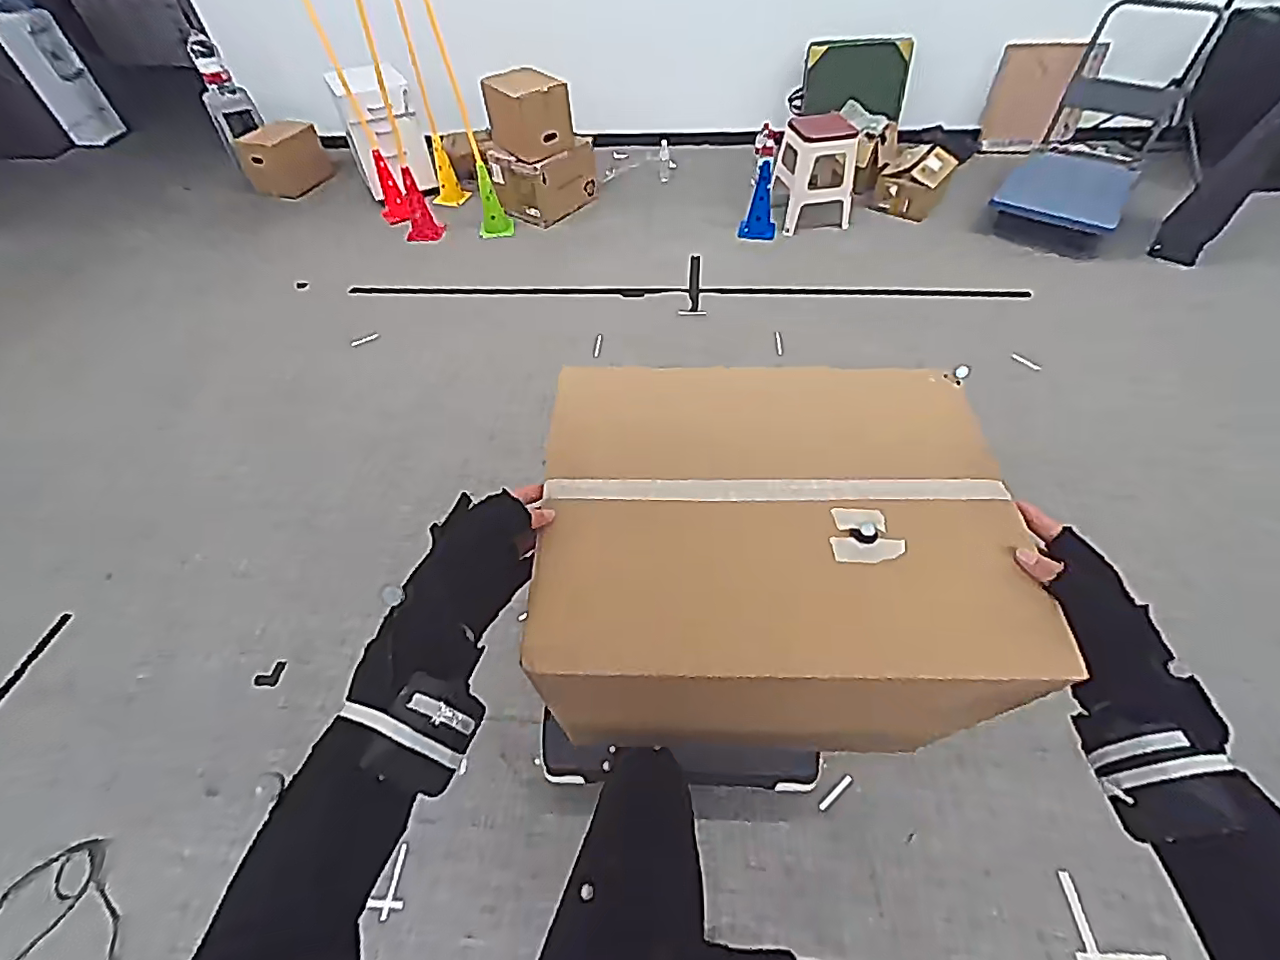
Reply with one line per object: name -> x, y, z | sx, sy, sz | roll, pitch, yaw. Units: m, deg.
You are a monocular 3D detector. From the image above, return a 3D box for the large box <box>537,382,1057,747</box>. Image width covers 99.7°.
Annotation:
large box -> 0.118, 0.106, 0.614 | 0.408, 0.320, 0.320 | 0, 55, 1
